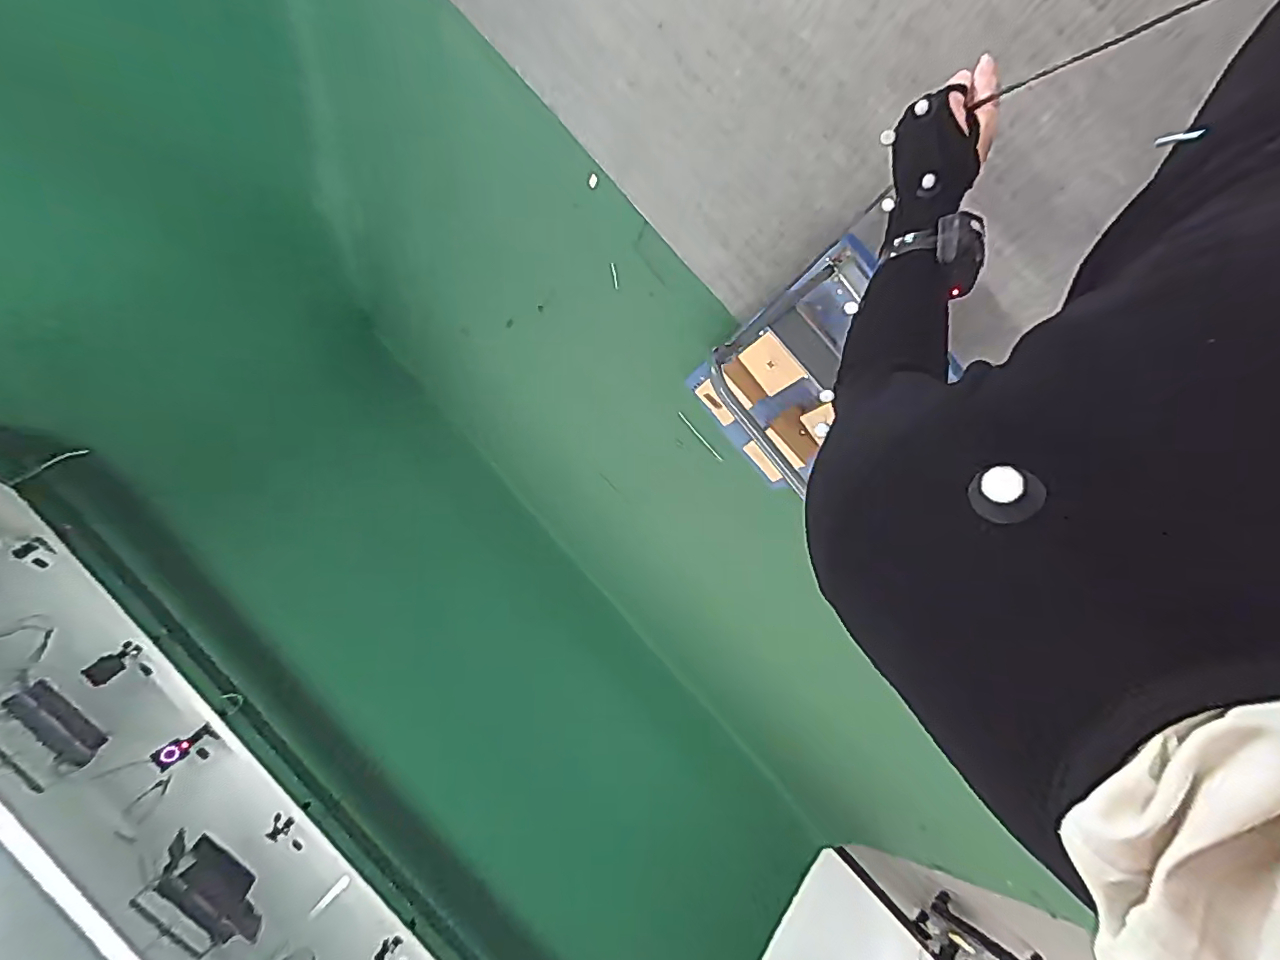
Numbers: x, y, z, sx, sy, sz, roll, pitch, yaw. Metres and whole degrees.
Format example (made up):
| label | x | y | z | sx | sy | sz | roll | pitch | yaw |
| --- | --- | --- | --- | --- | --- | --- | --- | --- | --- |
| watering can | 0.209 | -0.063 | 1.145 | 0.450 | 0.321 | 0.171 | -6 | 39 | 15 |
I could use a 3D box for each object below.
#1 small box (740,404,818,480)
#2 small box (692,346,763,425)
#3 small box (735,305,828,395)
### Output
| label | x | y | z | sx | sy | sz | roll | pitch | yaw |
| --- | --- | --- | --- | --- | --- | --- | --- | --- | --- |
| small box | 0.486 | -0.132 | 1.866 | 0.168 | 0.176 | 0.179 | 49 | 150 | 0 |
| small box | 0.317 | -0.326 | 1.854 | 0.168 | 0.176 | 0.179 | 48 | 149 | -3 |
| small box | 0.431 | -0.393 | 1.635 | 0.168 | 0.176 | 0.179 | 50 | 149 | -5 |
